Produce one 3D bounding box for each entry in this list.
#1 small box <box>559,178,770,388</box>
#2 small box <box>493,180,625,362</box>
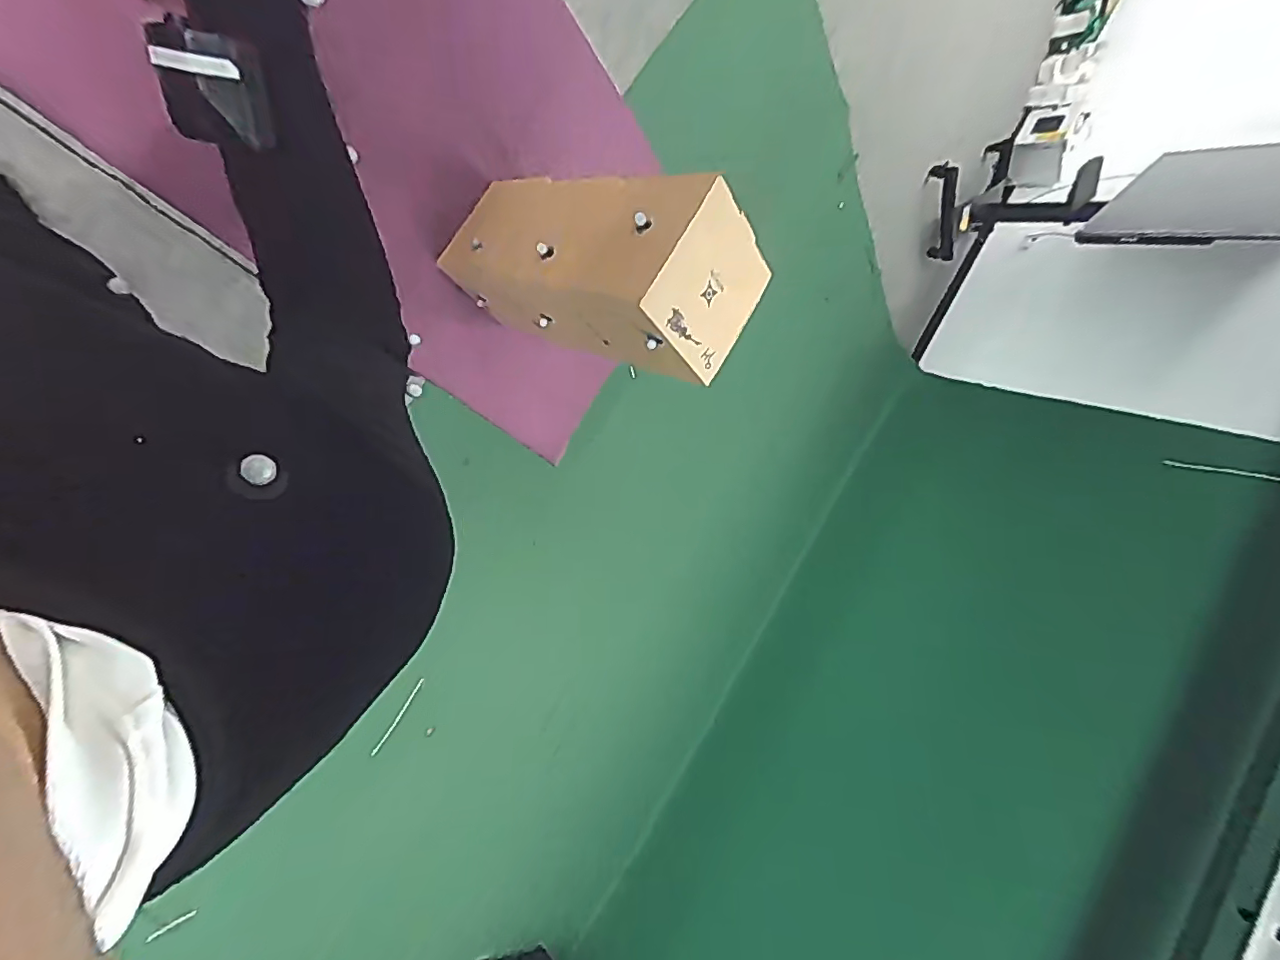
[{"bbox_3d":[0.029,-0.246,0.682,0.168,0.176,0.179,37,81,-48],"label":"small box"},{"bbox_3d":[-0.086,-0.301,0.785,0.179,0.176,0.168,-59,140,-7],"label":"small box"}]
